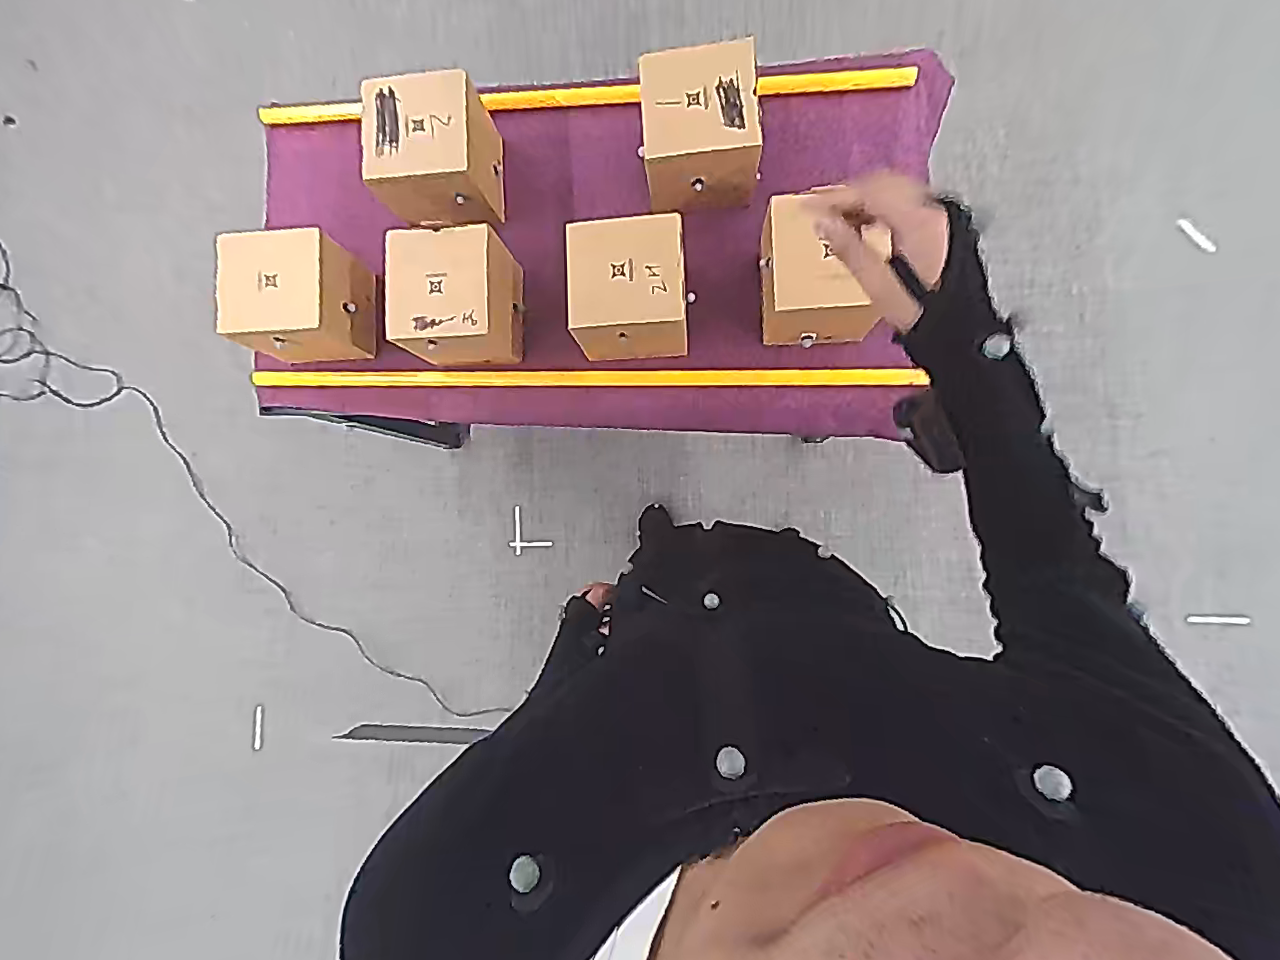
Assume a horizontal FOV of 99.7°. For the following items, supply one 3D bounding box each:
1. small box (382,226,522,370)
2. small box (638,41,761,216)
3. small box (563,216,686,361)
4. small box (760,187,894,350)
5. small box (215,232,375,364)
[{"bbox_3d":[-0.303,-0.294,0.902,0.168,0.176,0.179,-1,86,7],"label":"small box"},{"bbox_3d":[0.095,-0.554,0.875,0.179,0.176,0.168,-3,87,7],"label":"small box"},{"bbox_3d":[-0.018,-0.296,0.872,0.179,0.176,0.168,-2,85,6],"label":"small box"},{"bbox_3d":[0.278,-0.317,0.840,0.168,0.176,0.179,-2,85,8],"label":"small box"},{"bbox_3d":[-0.582,-0.304,0.932,0.179,0.176,0.168,-2,86,5],"label":"small box"}]
